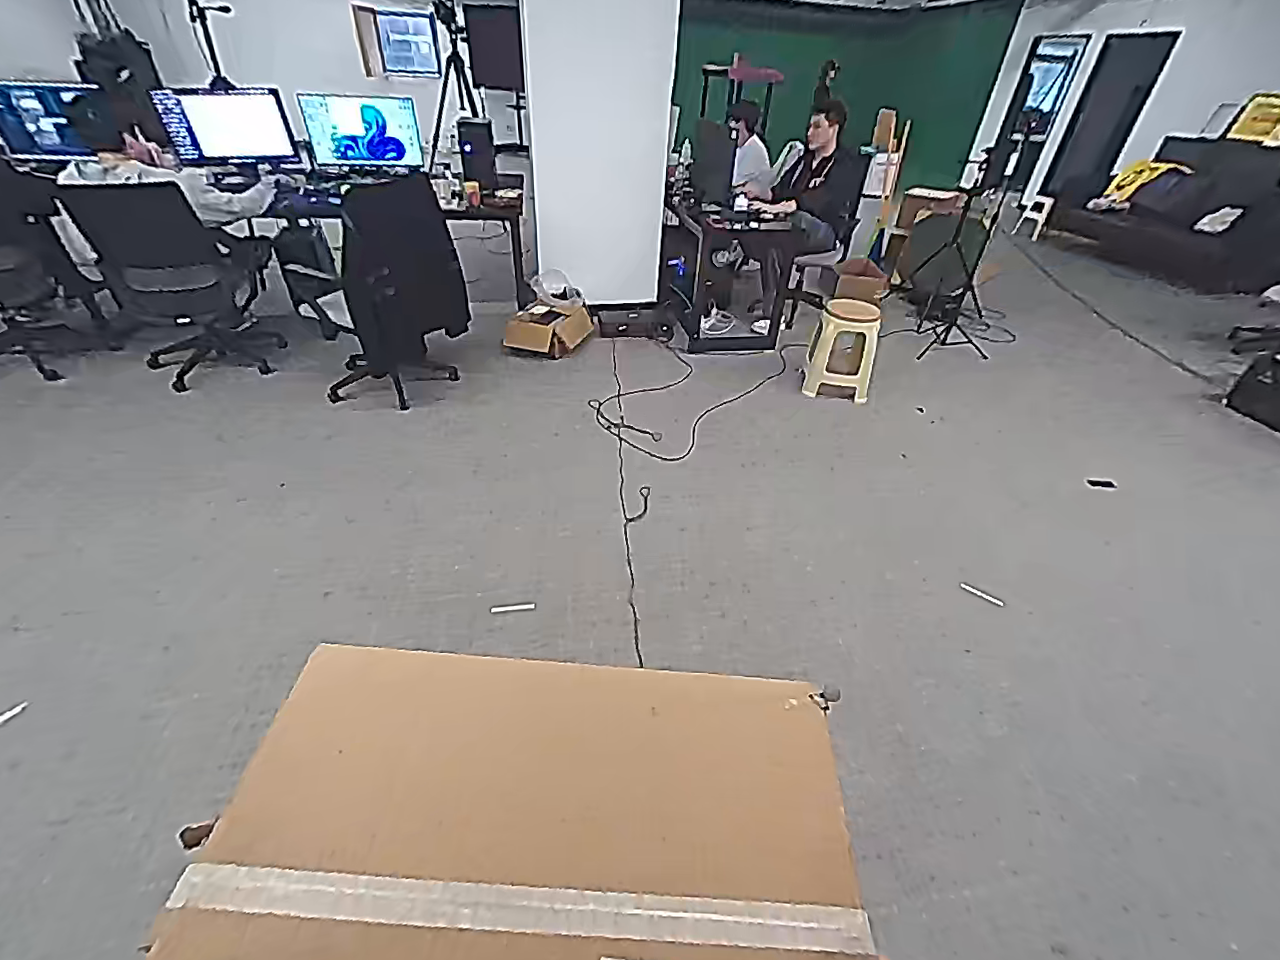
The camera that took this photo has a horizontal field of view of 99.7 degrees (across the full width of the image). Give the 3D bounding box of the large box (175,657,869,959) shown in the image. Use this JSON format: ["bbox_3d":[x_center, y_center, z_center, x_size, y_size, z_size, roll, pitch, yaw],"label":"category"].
[{"bbox_3d":[-0.072,0.368,0.431,0.408,0.320,0.320,5,44,-1],"label":"large box"}]
